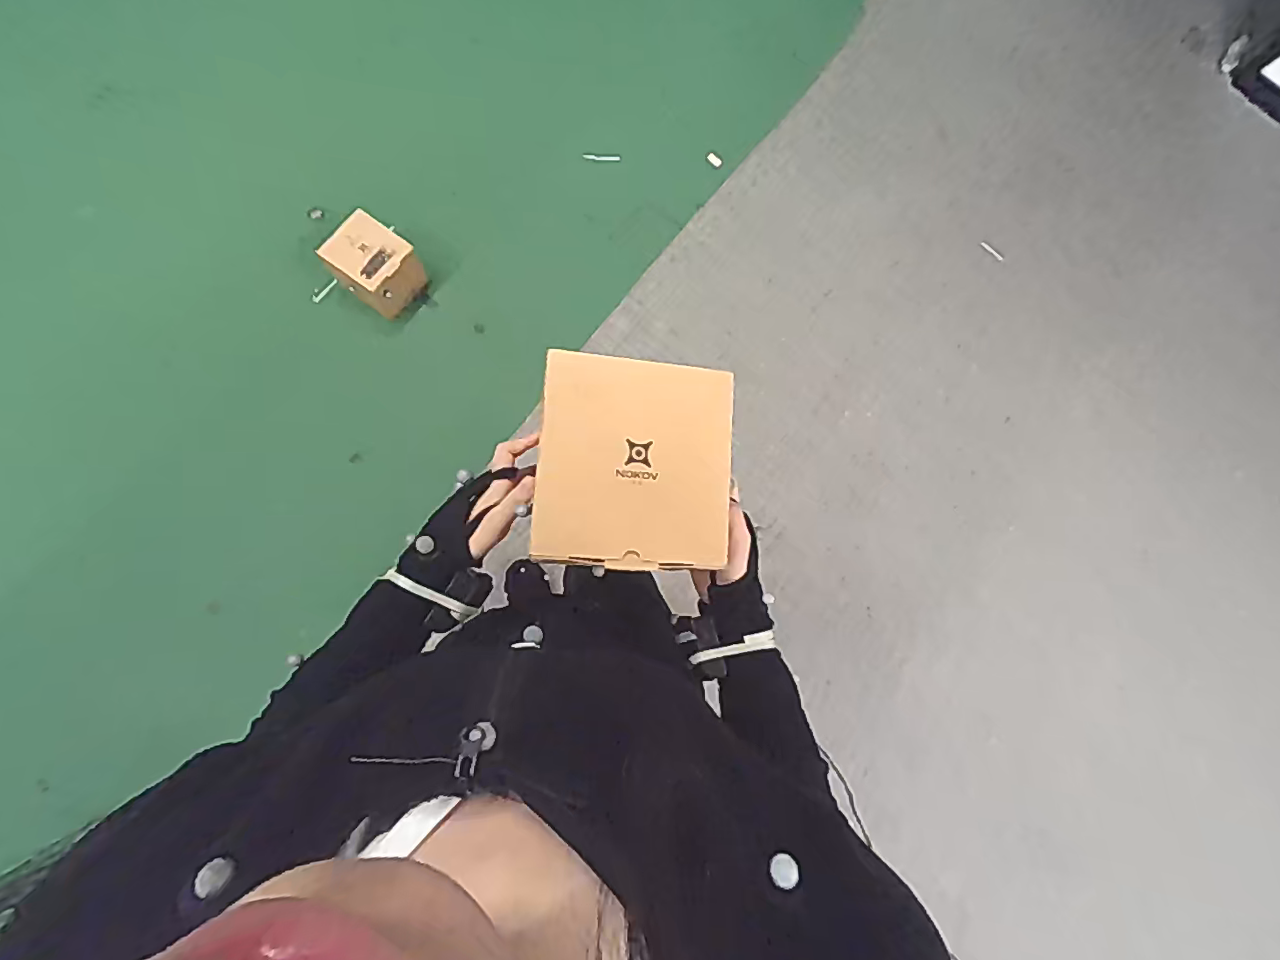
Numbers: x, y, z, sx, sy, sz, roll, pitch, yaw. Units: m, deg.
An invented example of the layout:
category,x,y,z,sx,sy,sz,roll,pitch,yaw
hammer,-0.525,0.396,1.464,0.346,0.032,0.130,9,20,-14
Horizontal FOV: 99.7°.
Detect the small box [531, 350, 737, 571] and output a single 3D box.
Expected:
category,x,y,z,sx,sy,sz,roll,pitch,yaw
small box,-0.016,-0.004,0.527,0.168,0.176,0.179,5,81,-11
